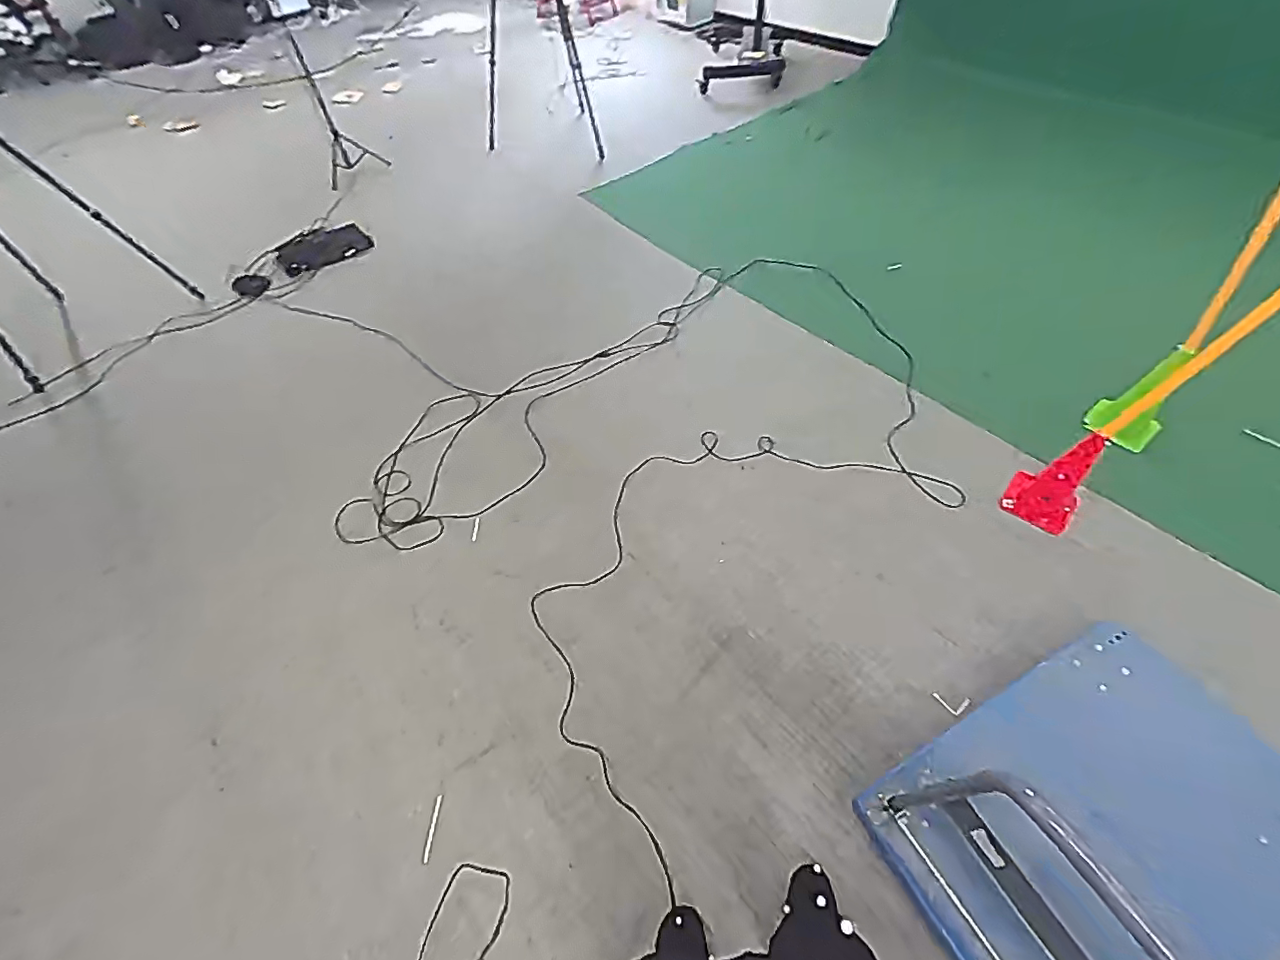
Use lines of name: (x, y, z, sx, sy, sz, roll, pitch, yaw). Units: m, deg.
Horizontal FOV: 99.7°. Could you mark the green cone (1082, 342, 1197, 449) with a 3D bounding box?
green cone: (1.765, -0.316, 1.862, 0.202, 0.368, 0.200, -36, 58, -22)
